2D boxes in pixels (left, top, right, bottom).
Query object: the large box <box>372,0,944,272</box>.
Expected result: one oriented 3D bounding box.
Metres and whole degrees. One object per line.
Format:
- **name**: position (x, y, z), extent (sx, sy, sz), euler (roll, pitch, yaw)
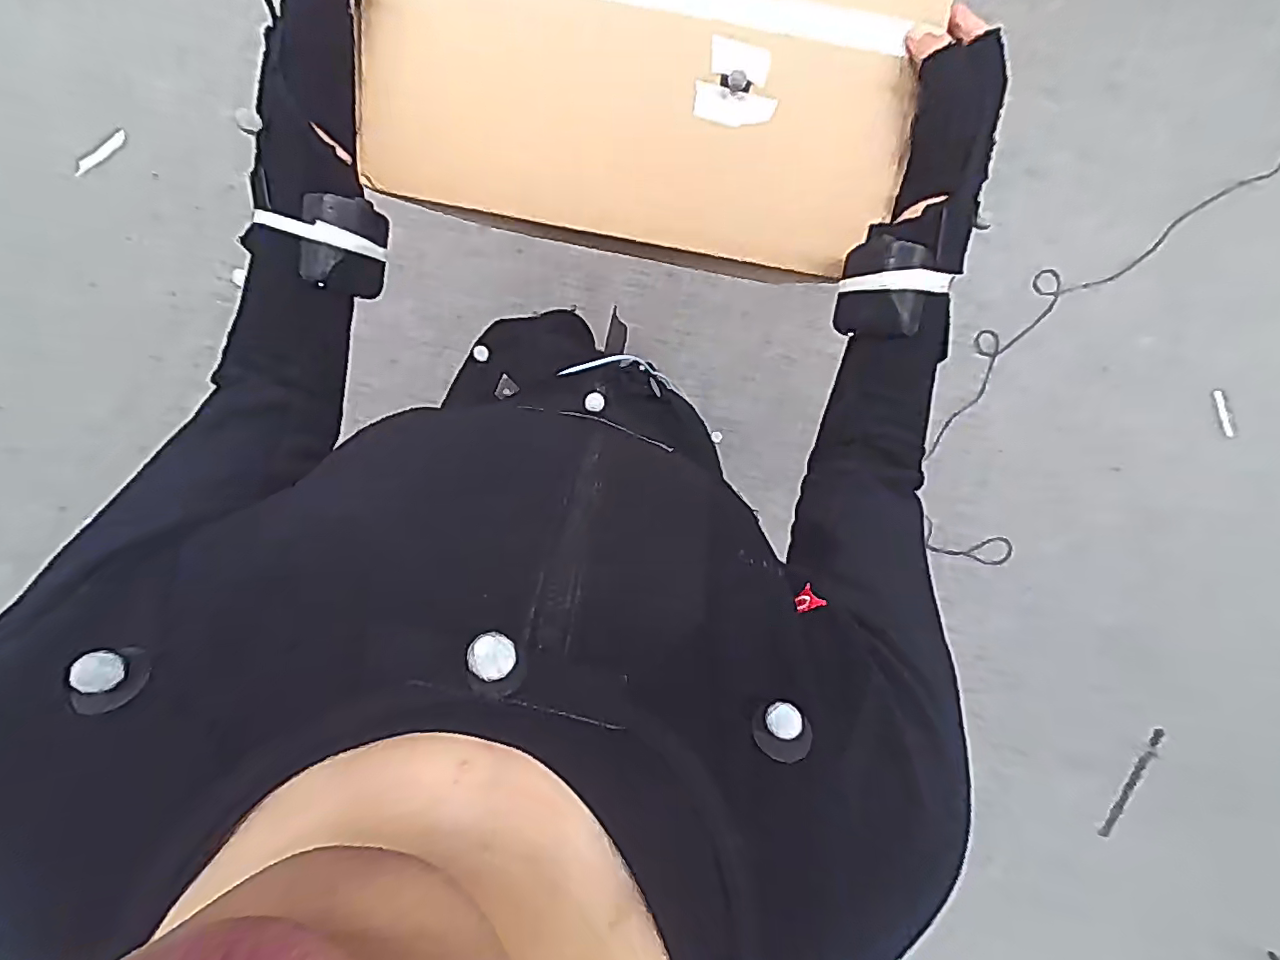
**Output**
- **large box**: position (0.011, -0.394, 0.516), extent (0.408, 0.320, 0.320), euler (9, 111, -4)
